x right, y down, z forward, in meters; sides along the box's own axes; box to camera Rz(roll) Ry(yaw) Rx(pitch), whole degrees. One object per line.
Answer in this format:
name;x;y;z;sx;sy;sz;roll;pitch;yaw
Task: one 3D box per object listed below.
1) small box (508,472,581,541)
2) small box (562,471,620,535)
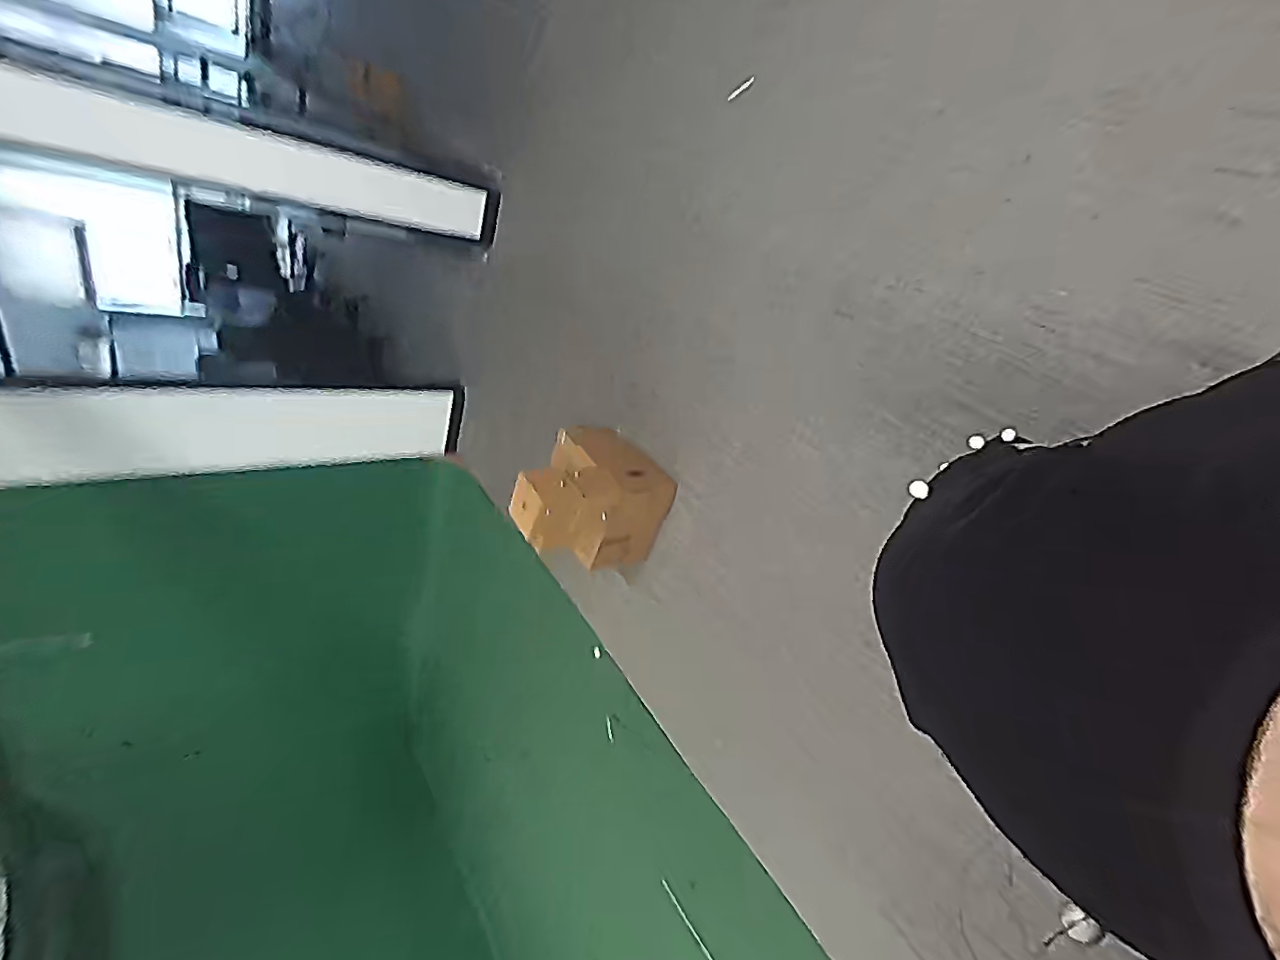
small box;-0.328;0.087;1.864;0.168;0.176;0.179;48;126;35
small box;-0.205;0.079;1.971;0.179;0.176;0.168;47;127;35
